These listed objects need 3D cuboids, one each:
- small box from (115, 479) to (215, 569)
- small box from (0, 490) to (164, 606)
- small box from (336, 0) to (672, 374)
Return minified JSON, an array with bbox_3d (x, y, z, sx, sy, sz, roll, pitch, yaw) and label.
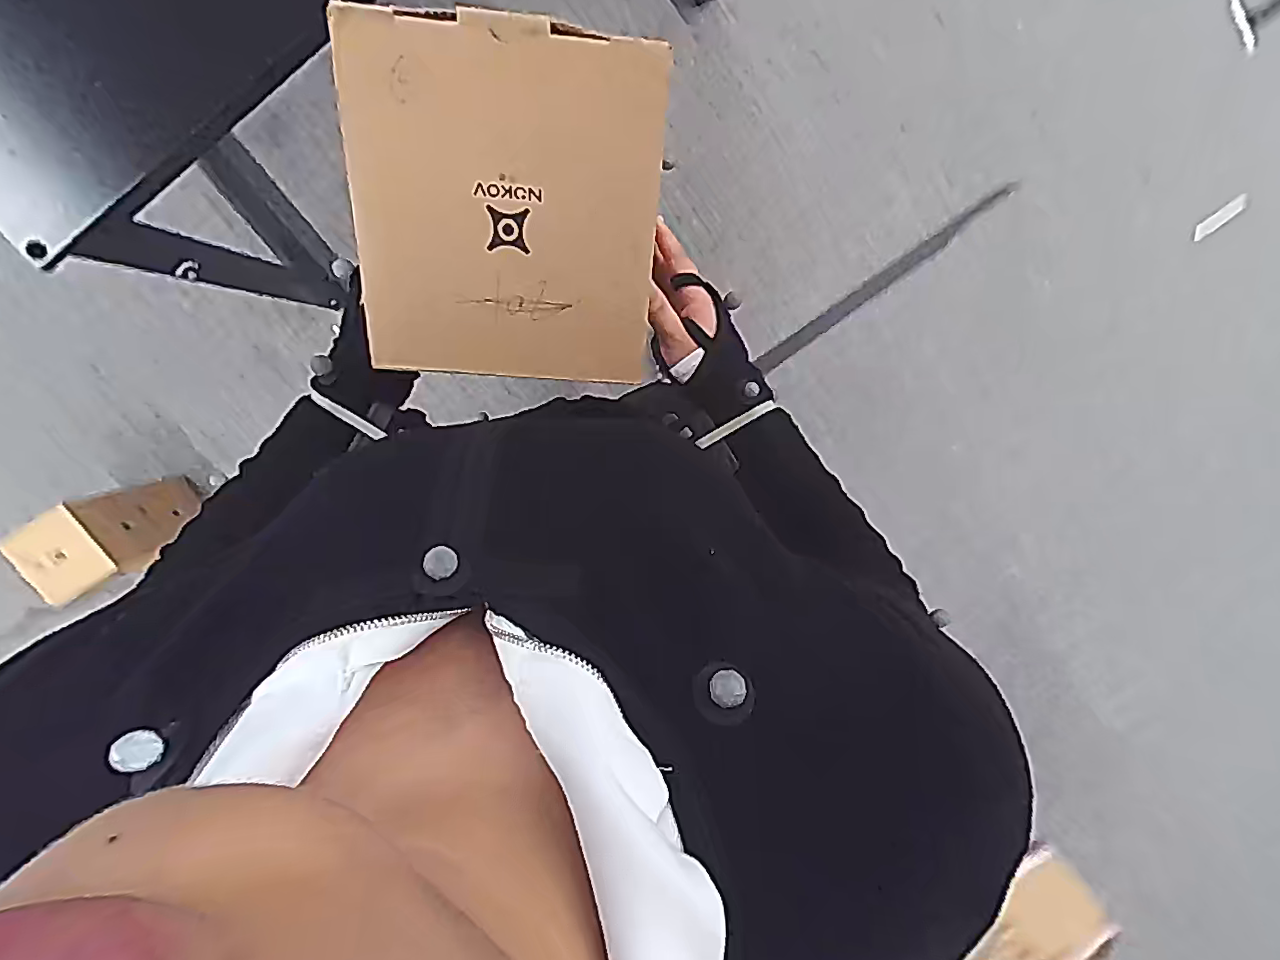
[{"bbox_3d":[-1.243,0.111,1.361,0.168,0.176,0.179,-27,102,3],"label":"small box"},{"bbox_3d":[-1.222,0.142,1.201,0.179,0.176,0.168,-31,100,4],"label":"small box"},{"bbox_3d":[-0.076,-0.183,0.371,0.168,0.176,0.179,2,116,-5],"label":"small box"}]
